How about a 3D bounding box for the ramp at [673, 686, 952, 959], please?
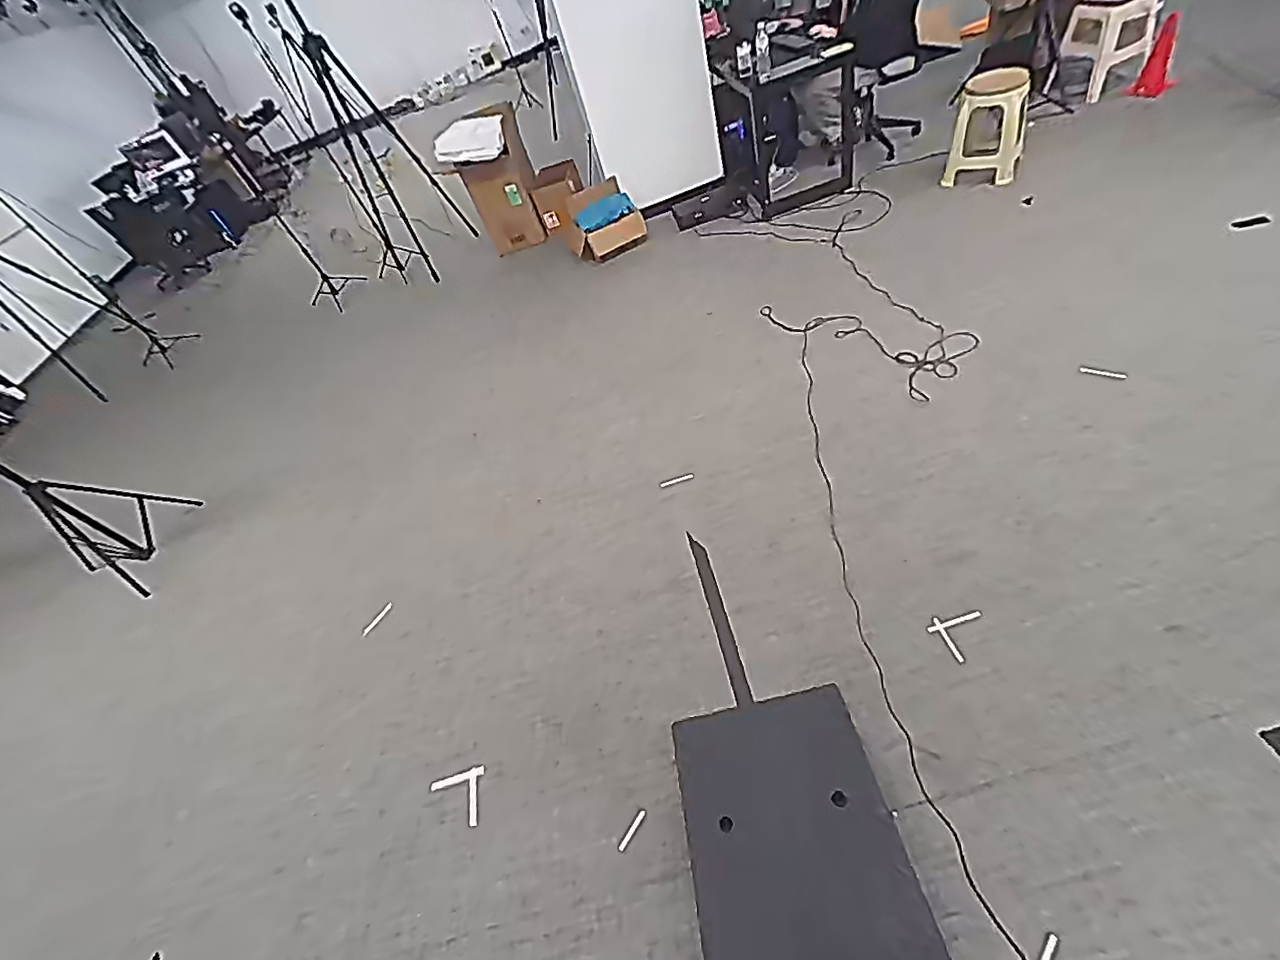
[{"bbox_3d":[0.368,0.946,1.162,0.509,0.206,0.991,-19,45,6],"label":"ramp"}]
